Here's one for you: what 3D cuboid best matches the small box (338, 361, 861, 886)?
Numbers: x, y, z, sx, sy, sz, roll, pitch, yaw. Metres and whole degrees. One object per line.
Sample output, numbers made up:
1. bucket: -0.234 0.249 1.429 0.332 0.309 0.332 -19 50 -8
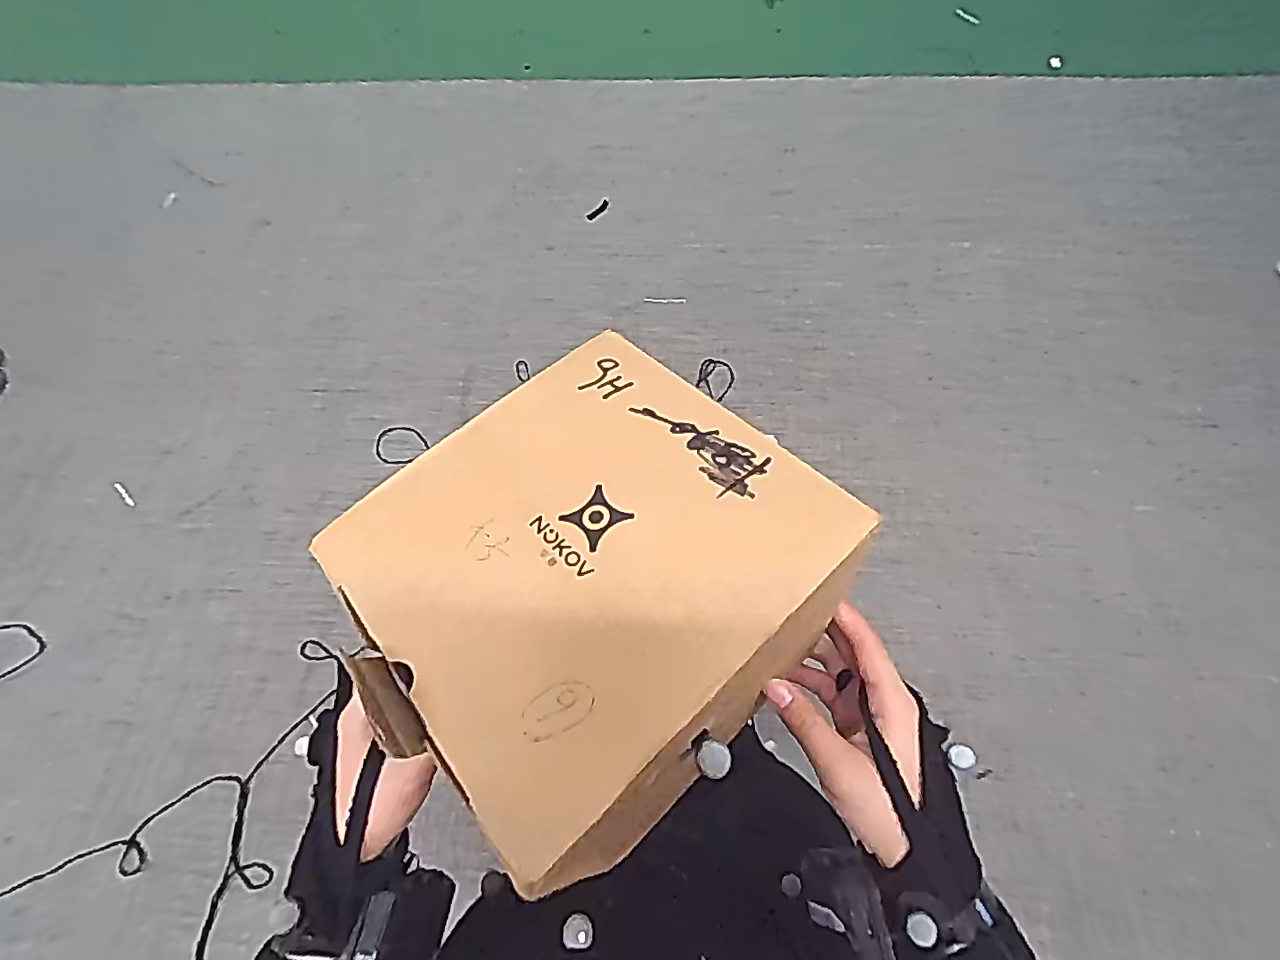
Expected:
1. small box: -0.013 0.076 0.299 0.179 0.176 0.168 -40 61 -18
